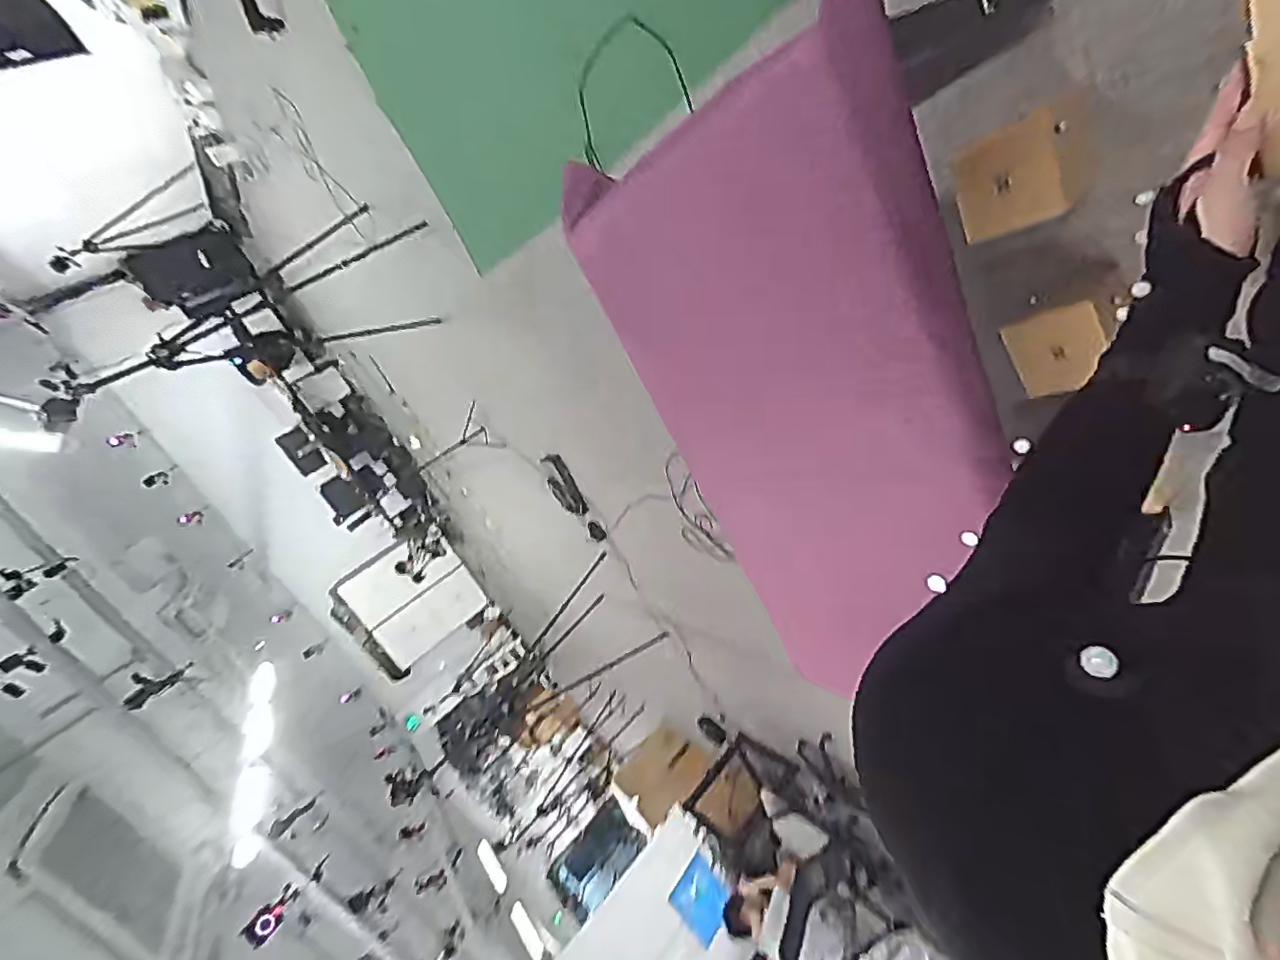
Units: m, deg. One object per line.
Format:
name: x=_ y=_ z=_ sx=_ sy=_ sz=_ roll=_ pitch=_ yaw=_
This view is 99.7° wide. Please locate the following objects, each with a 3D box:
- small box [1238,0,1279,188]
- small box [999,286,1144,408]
small box: x=0.561 y=-0.332 z=0.385 sx=0.179 sy=0.176 sz=0.168 roll=-4 pitch=111 yaw=49
small box: x=0.888 y=-0.276 z=1.112 sx=0.179 sy=0.176 sz=0.168 roll=57 pitch=153 yaw=-12
